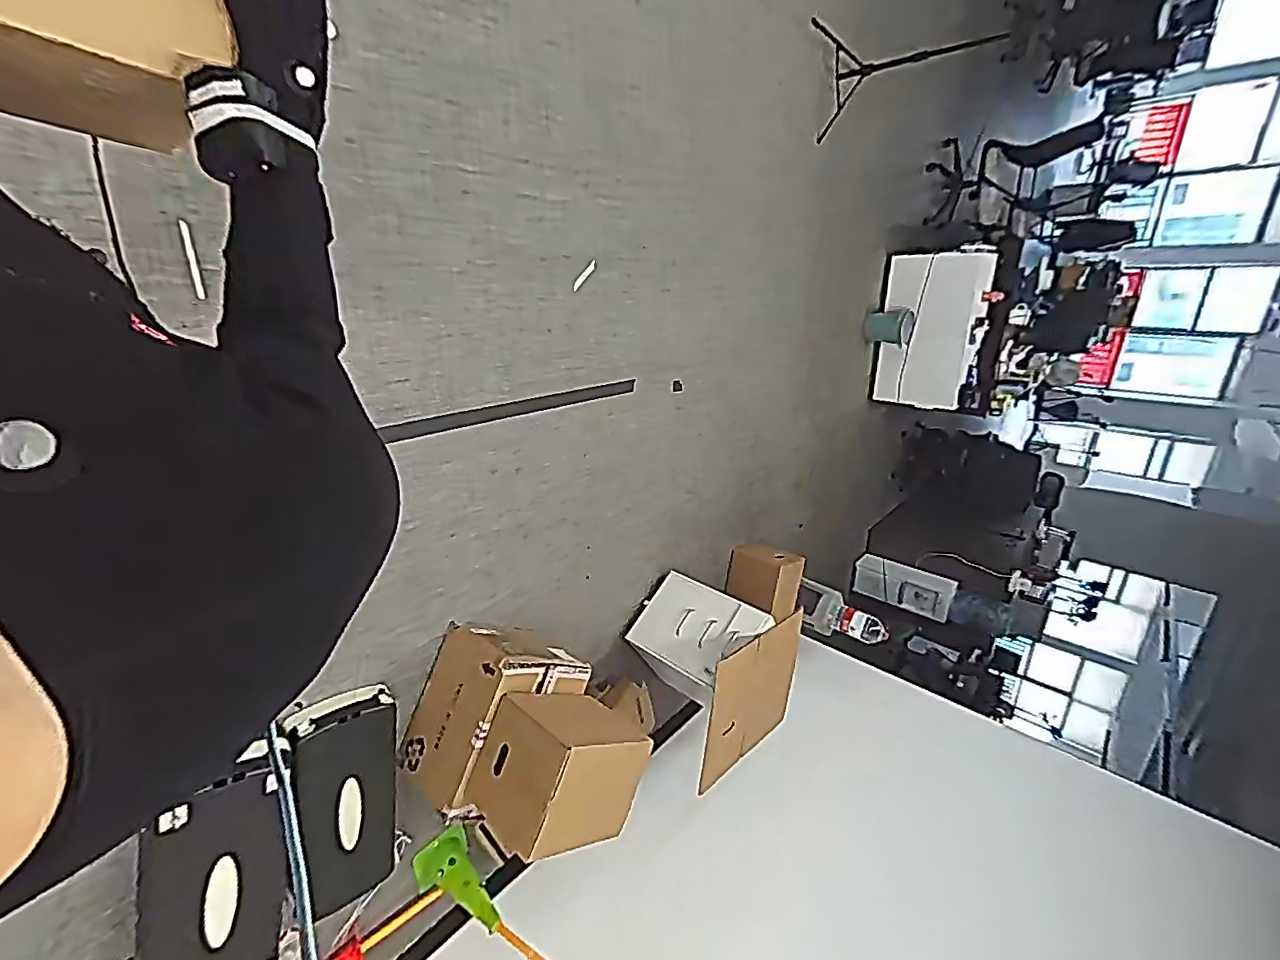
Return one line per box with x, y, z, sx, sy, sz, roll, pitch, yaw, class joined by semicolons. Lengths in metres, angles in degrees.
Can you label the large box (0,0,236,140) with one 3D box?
-0.548;-0.461;0.334;0.408;0.320;0.320;-12;114;-48;large box
